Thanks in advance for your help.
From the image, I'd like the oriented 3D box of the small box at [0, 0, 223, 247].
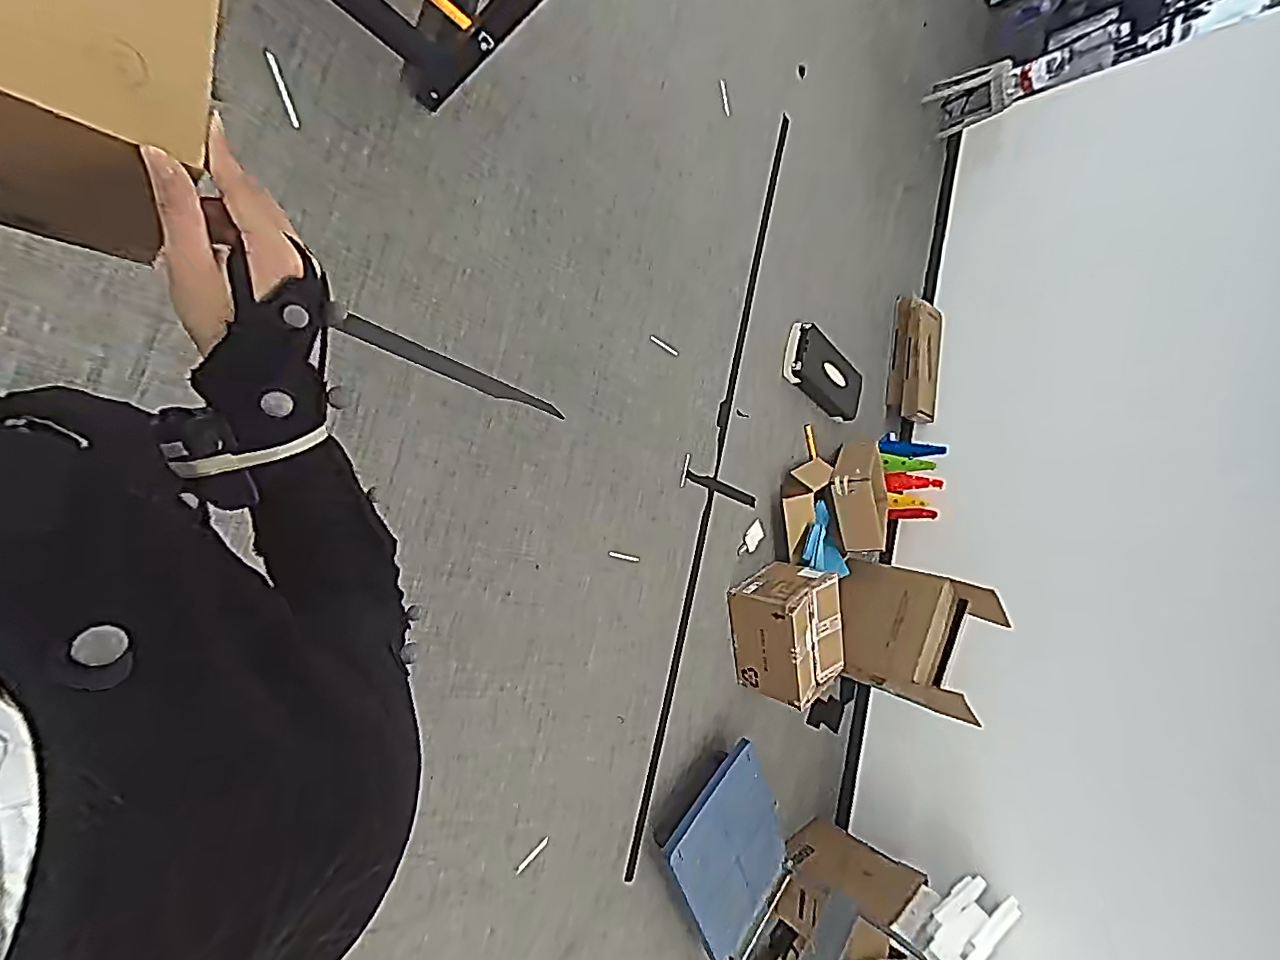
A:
[{"bbox_3d":[-0.340,-0.254,0.284,0.168,0.176,0.179,7,82,-50],"label":"small box"}]
